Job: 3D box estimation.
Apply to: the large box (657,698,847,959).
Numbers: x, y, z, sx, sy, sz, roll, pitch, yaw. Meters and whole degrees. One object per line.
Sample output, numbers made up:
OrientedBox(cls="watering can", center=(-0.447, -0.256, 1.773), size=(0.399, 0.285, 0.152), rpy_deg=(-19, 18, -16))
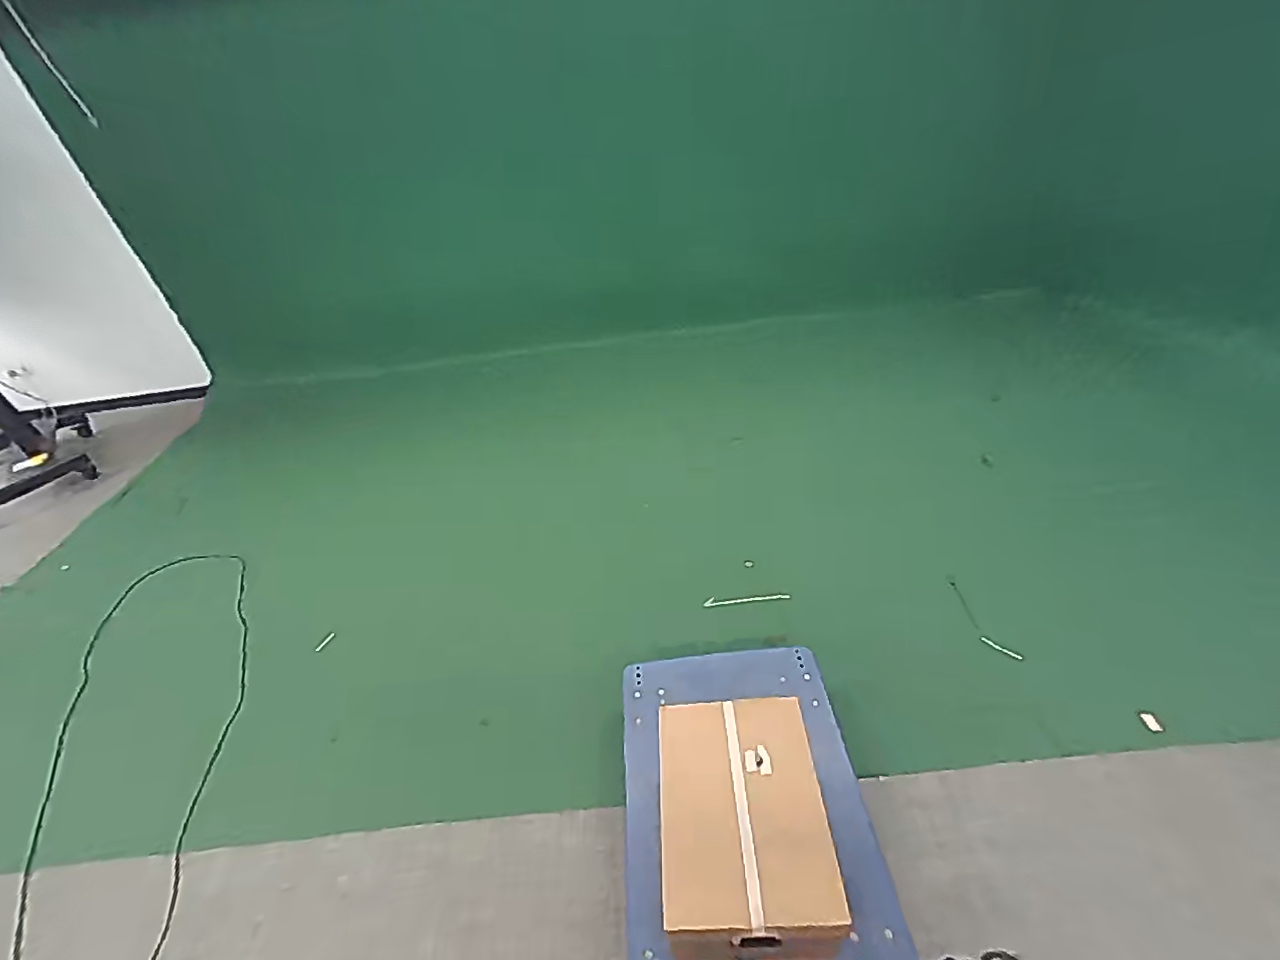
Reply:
OrientedBox(cls="large box", center=(0.211, 0.740, 1.147), size=(0.320, 0.320, 0.408), rpy_deg=(-5, 37, 4))
